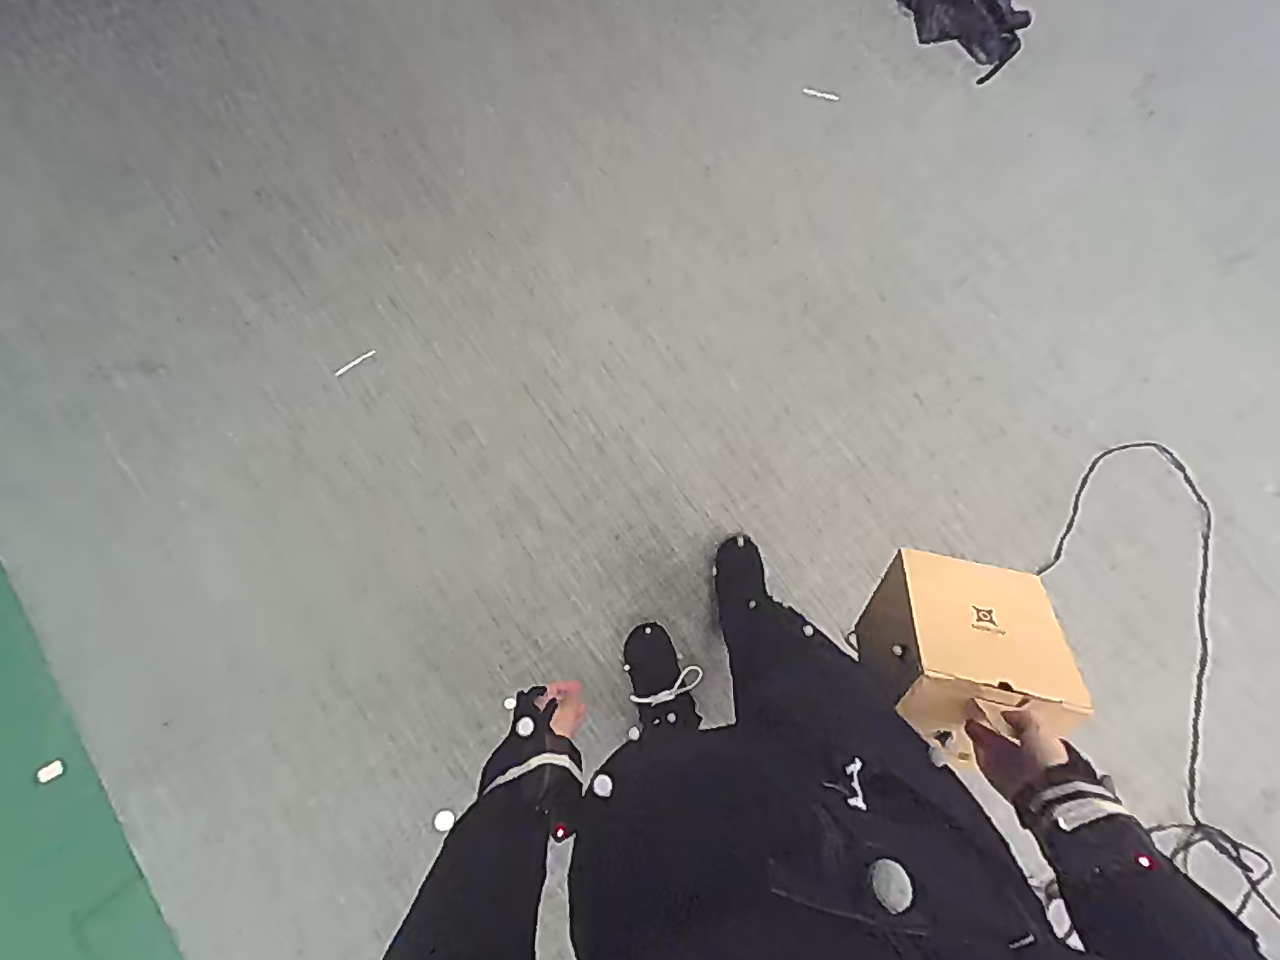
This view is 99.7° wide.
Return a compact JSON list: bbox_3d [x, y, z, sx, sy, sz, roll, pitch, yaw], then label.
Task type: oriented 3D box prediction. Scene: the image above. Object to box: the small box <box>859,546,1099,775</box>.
[{"bbox_3d":[0.374,0.212,0.643,0.168,0.176,0.179,12,41,6],"label":"small box"}]
